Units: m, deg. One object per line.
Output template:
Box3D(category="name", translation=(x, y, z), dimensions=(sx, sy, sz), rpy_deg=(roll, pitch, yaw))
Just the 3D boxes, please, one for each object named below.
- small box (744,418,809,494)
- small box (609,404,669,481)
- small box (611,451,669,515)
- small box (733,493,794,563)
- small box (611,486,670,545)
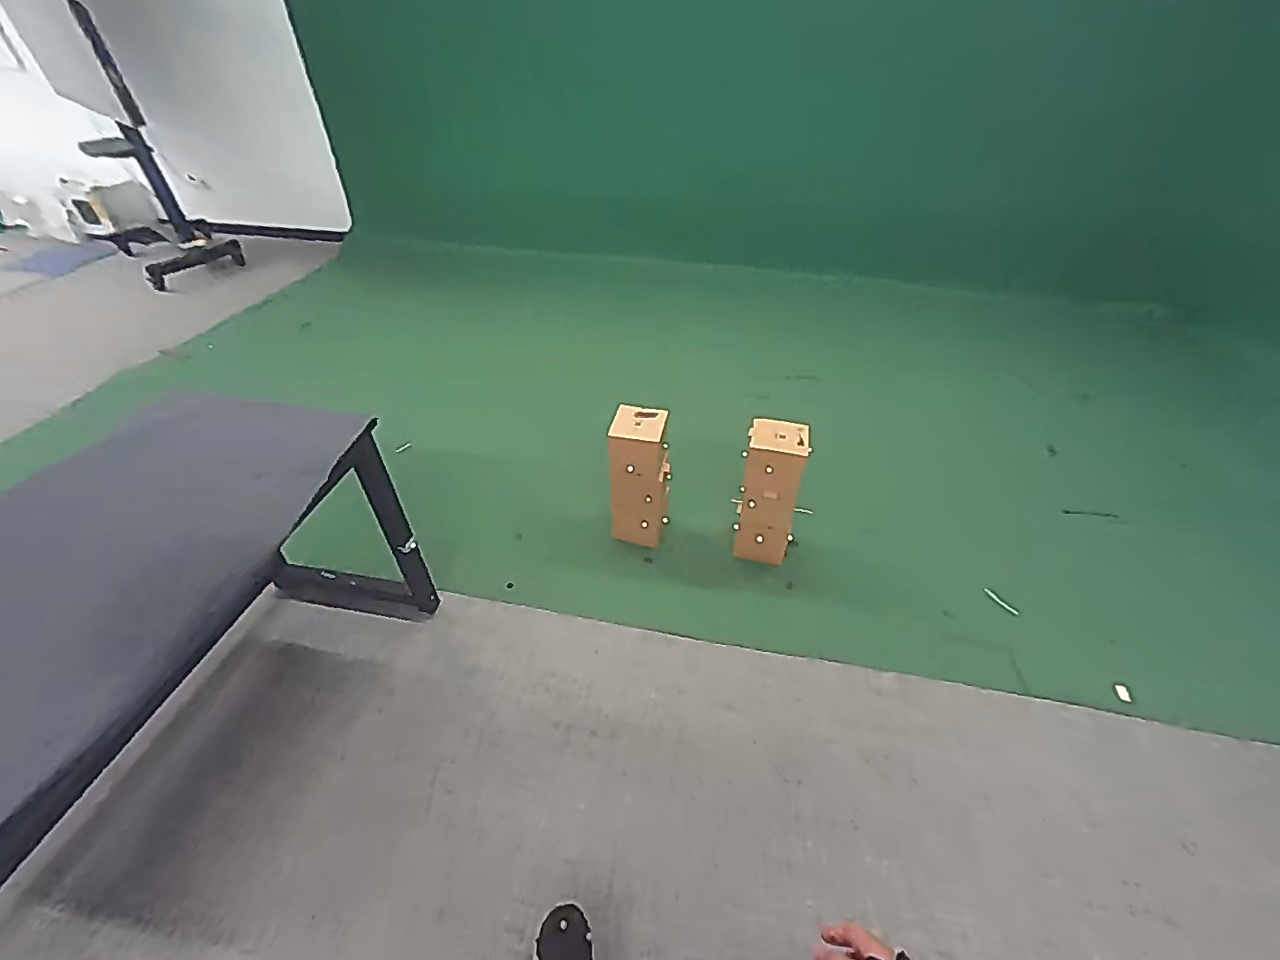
Box3D(category="small box", translation=(0.431, -0.074, 1.715), dimensions=(0.179, 0.176, 0.168), rpy_deg=(9, 42, 11))
Box3D(category="small box", translation=(-0.003, -0.123, 1.765), dimensions=(0.168, 0.176, 0.179), rpy_deg=(8, 43, 9))
Box3D(category="small box", translation=(0.001, 0.004, 1.870), dimensions=(0.179, 0.176, 0.168), rpy_deg=(6, 41, 7))
Box3D(category="small box", translation=(0.440, 0.174, 1.930), dimensions=(0.179, 0.176, 0.168), rpy_deg=(10, 43, 11))
Box3D(category="small box", translation=(0.004, 0.118, 1.985), dimensions=(0.179, 0.176, 0.168), rpy_deg=(12, 42, 13))
